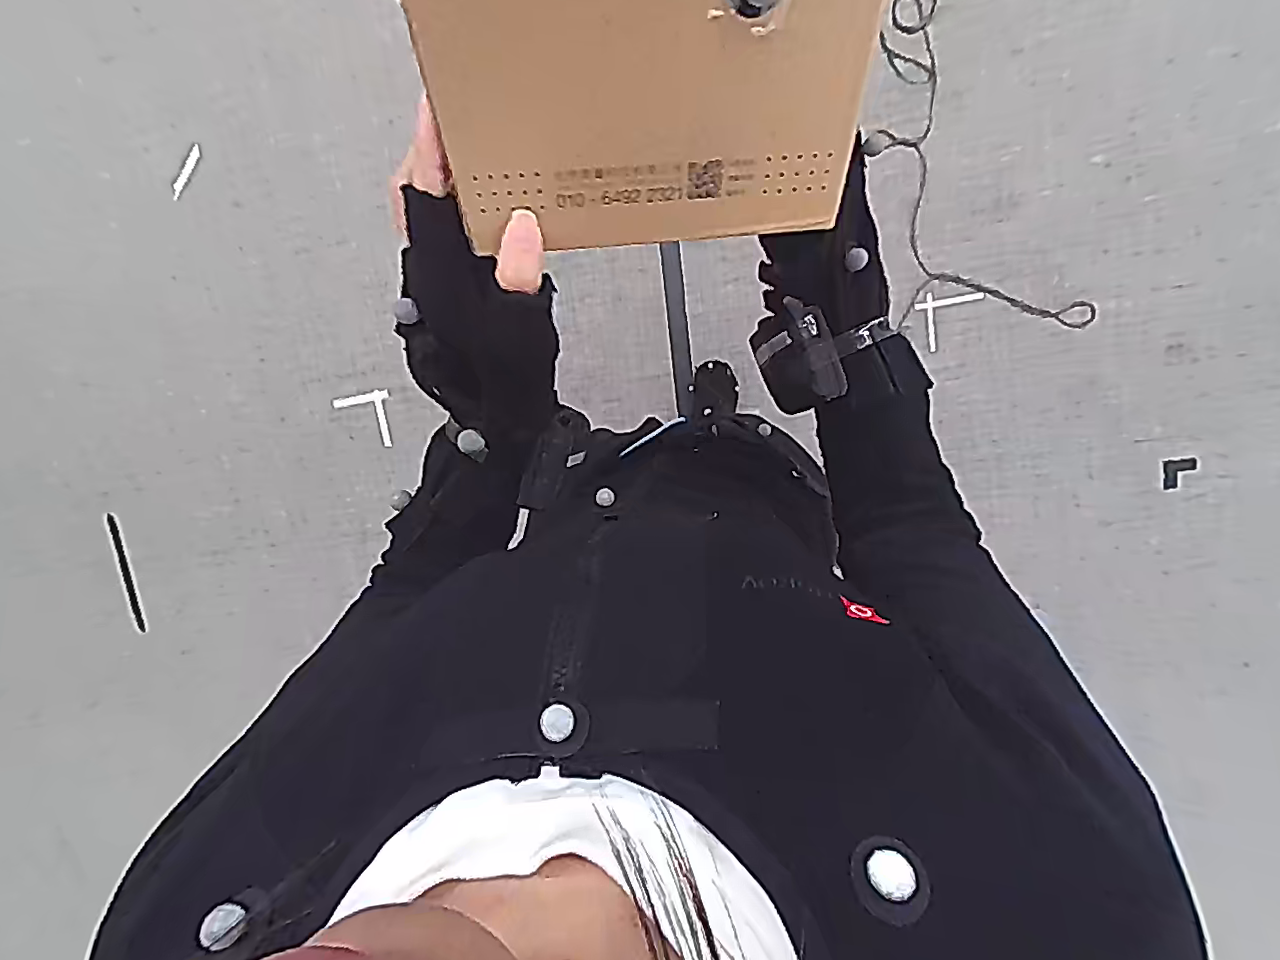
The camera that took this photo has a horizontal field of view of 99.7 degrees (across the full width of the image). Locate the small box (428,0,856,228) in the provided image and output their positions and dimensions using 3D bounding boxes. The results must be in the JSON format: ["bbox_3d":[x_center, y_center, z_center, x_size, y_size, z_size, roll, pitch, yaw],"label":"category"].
[{"bbox_3d":[0.000,-0.235,0.257,0.168,0.179,0.176,-3,139,0],"label":"small box"}]
